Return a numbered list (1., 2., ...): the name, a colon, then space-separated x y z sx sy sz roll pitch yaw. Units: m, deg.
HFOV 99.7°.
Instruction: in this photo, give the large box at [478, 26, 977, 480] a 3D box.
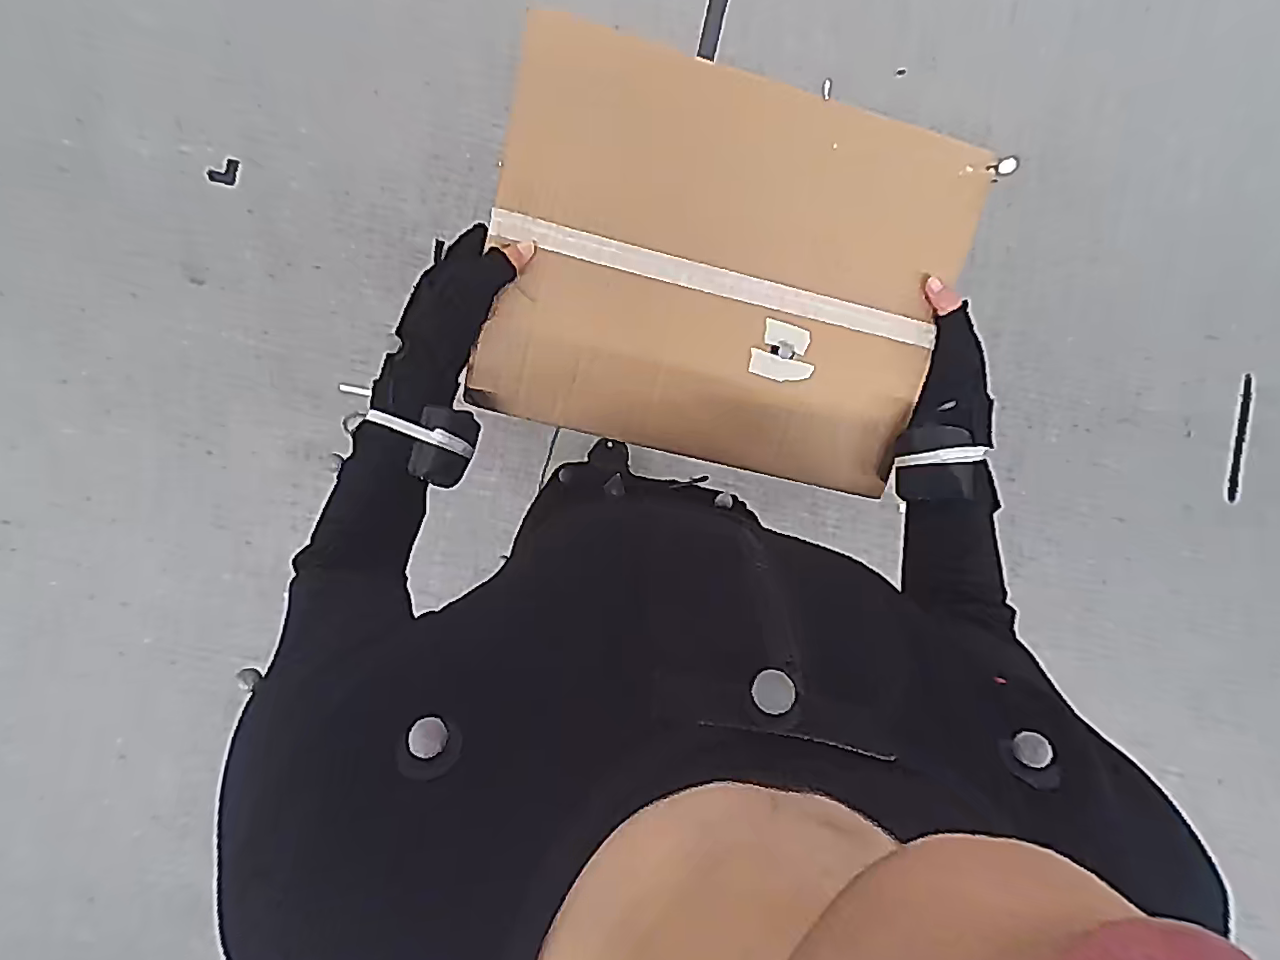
1. large box: 0.062 -0.220 0.632 0.408 0.320 0.320 13 105 -7
